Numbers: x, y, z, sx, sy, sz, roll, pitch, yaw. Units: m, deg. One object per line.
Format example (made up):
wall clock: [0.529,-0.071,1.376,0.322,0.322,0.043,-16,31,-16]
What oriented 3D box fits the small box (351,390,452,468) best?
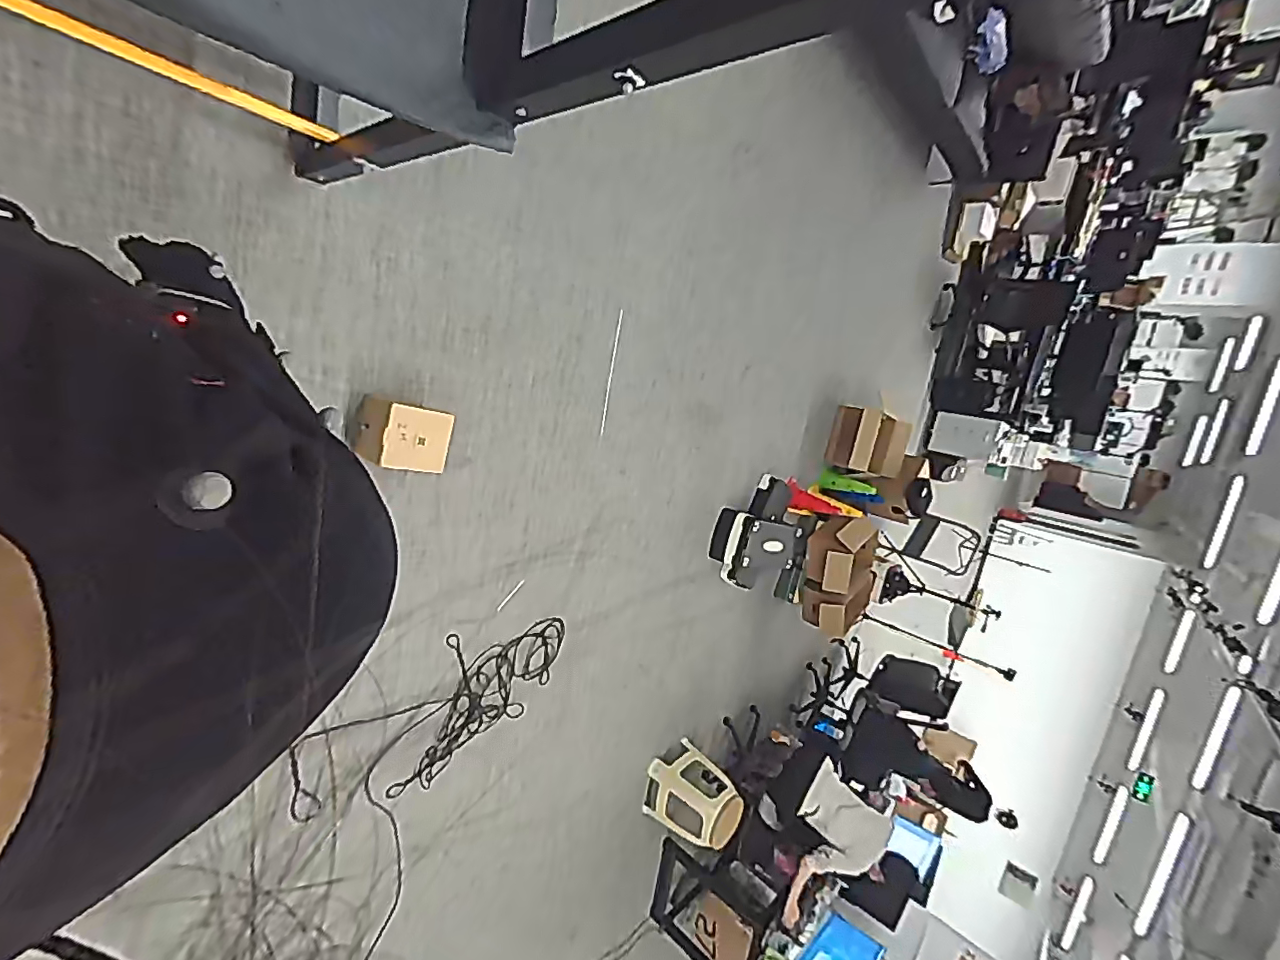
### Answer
small box: [-0.644,-0.139,1.459,0.179,0.176,0.168,9,98,-49]
